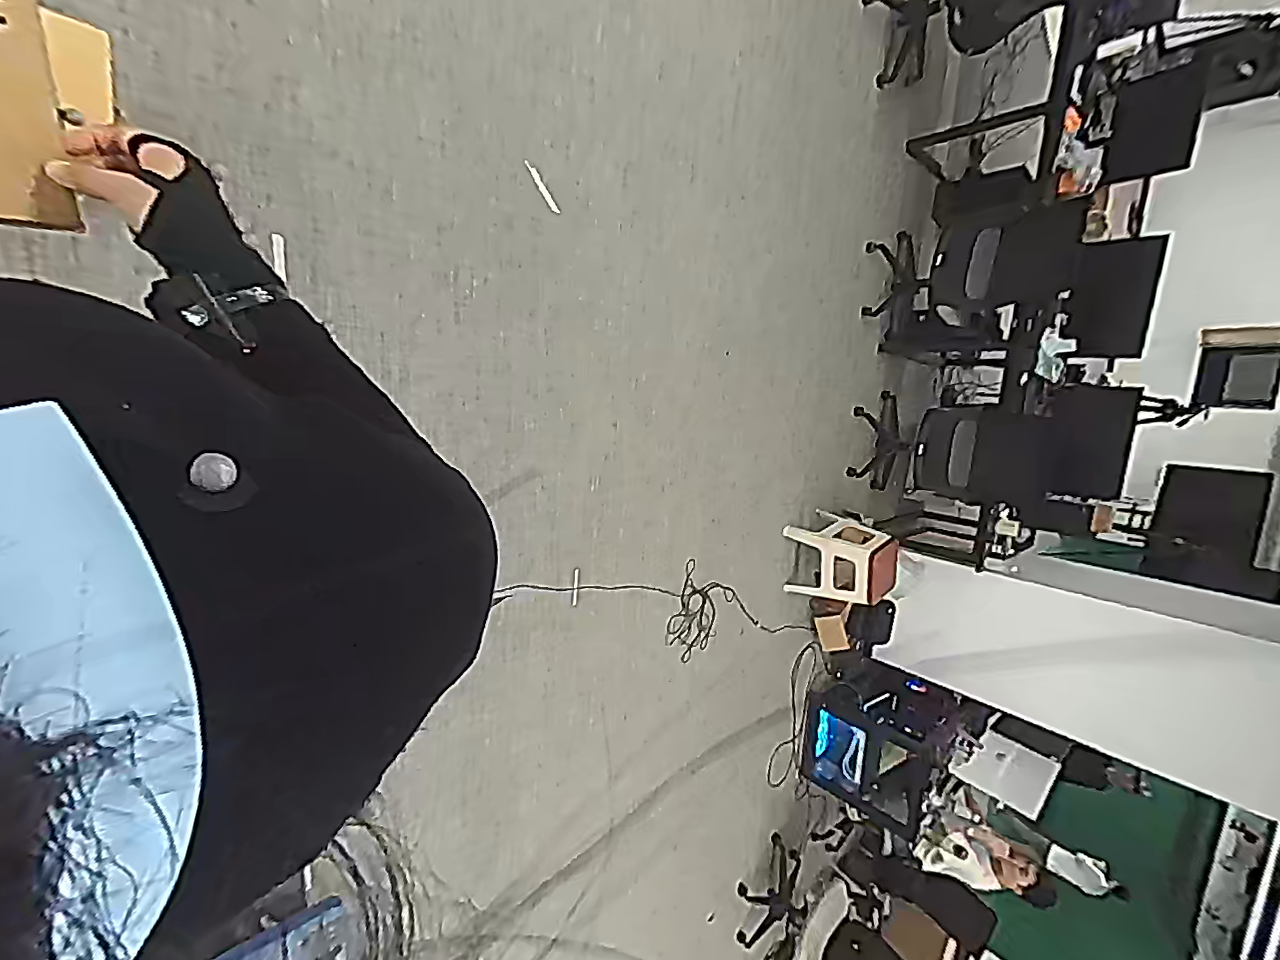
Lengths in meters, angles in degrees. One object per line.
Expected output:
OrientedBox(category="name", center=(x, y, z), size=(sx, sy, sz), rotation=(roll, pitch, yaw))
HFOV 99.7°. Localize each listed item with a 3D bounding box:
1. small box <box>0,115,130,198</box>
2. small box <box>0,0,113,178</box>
OrientedBox(category="small box", center=(-1.007, -0.600, 0.920), size=(0.168, 0.176, 0.179), rotation=(-19, 112, -39))
OrientedBox(category="small box", center=(-0.900, -0.581, 0.799), size=(0.168, 0.176, 0.179), rotation=(-3, 102, -44))
